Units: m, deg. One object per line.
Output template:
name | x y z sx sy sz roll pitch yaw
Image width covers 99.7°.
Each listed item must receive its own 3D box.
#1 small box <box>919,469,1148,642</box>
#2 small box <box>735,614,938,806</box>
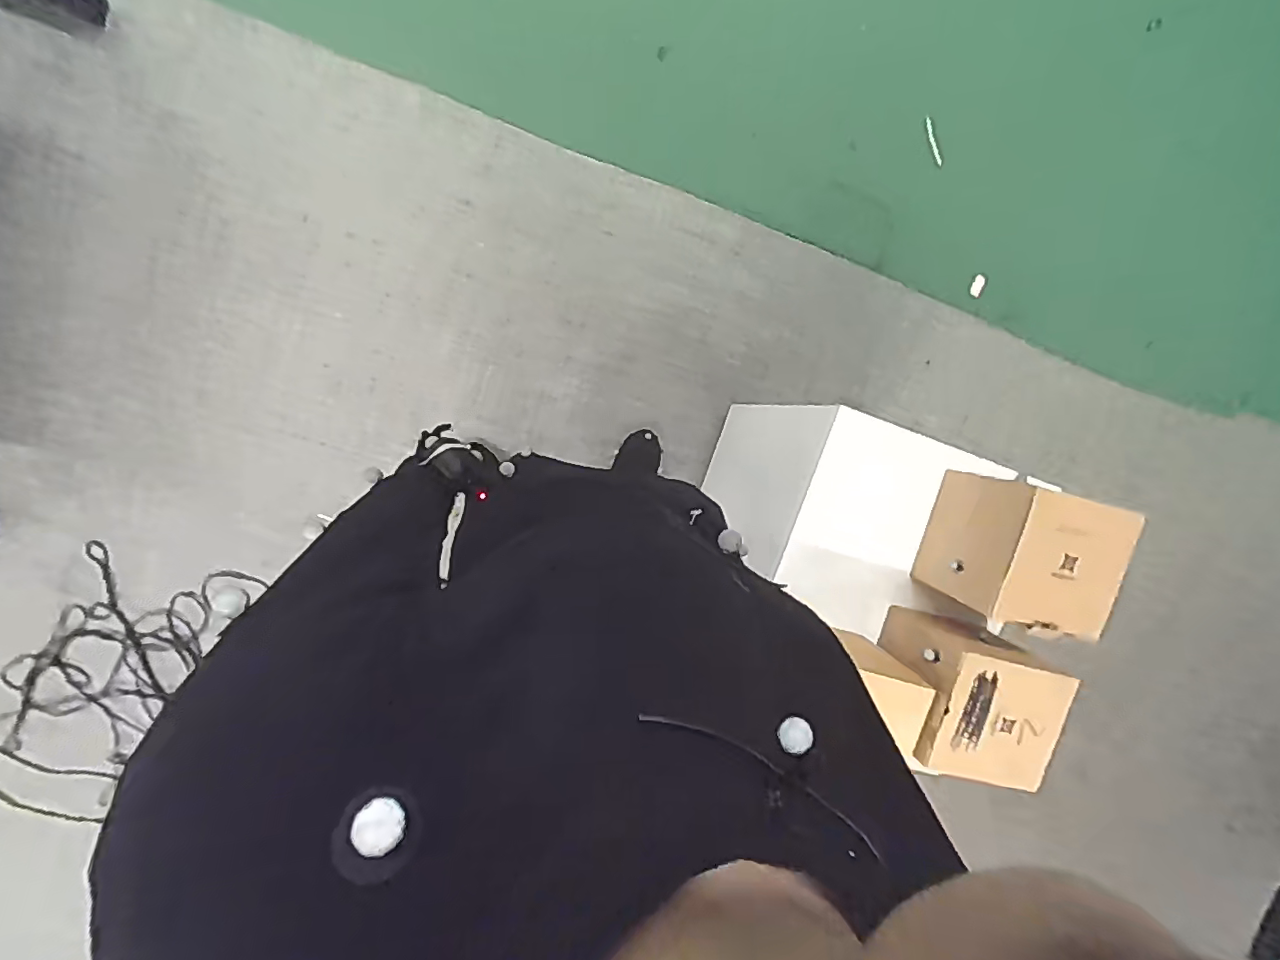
small box | 0.525 0.095 0.750 0.168 0.176 0.179 14 96 -10
small box | 0.256 0.303 0.743 0.179 0.176 0.168 17 94 -10
